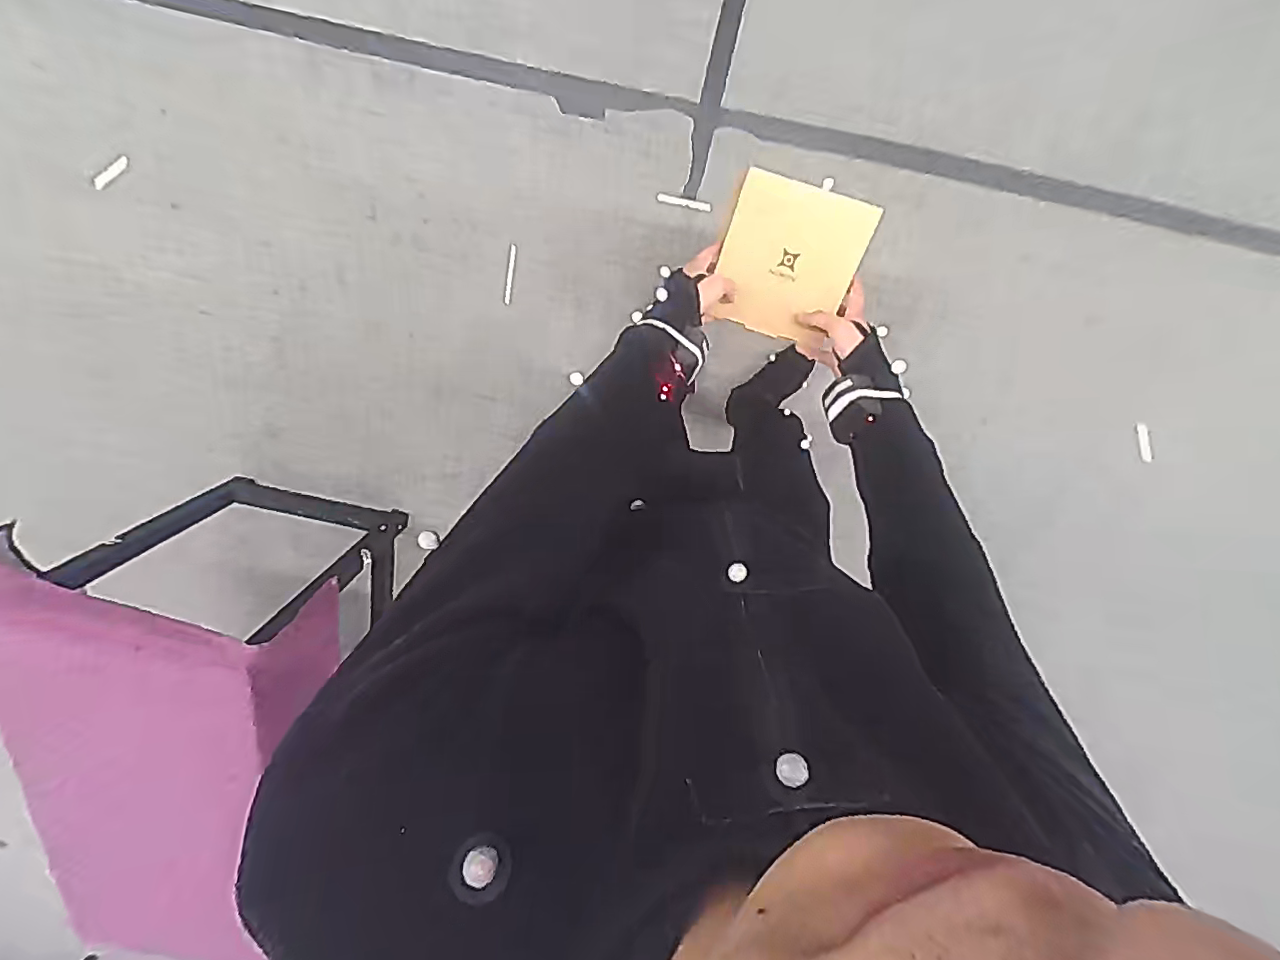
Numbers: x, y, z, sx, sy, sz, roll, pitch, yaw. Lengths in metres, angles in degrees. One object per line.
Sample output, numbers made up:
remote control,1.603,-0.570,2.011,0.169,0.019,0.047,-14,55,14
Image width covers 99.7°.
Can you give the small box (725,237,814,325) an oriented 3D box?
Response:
small box,0.312,-0.496,1.341,0.168,0.176,0.179,10,114,0
